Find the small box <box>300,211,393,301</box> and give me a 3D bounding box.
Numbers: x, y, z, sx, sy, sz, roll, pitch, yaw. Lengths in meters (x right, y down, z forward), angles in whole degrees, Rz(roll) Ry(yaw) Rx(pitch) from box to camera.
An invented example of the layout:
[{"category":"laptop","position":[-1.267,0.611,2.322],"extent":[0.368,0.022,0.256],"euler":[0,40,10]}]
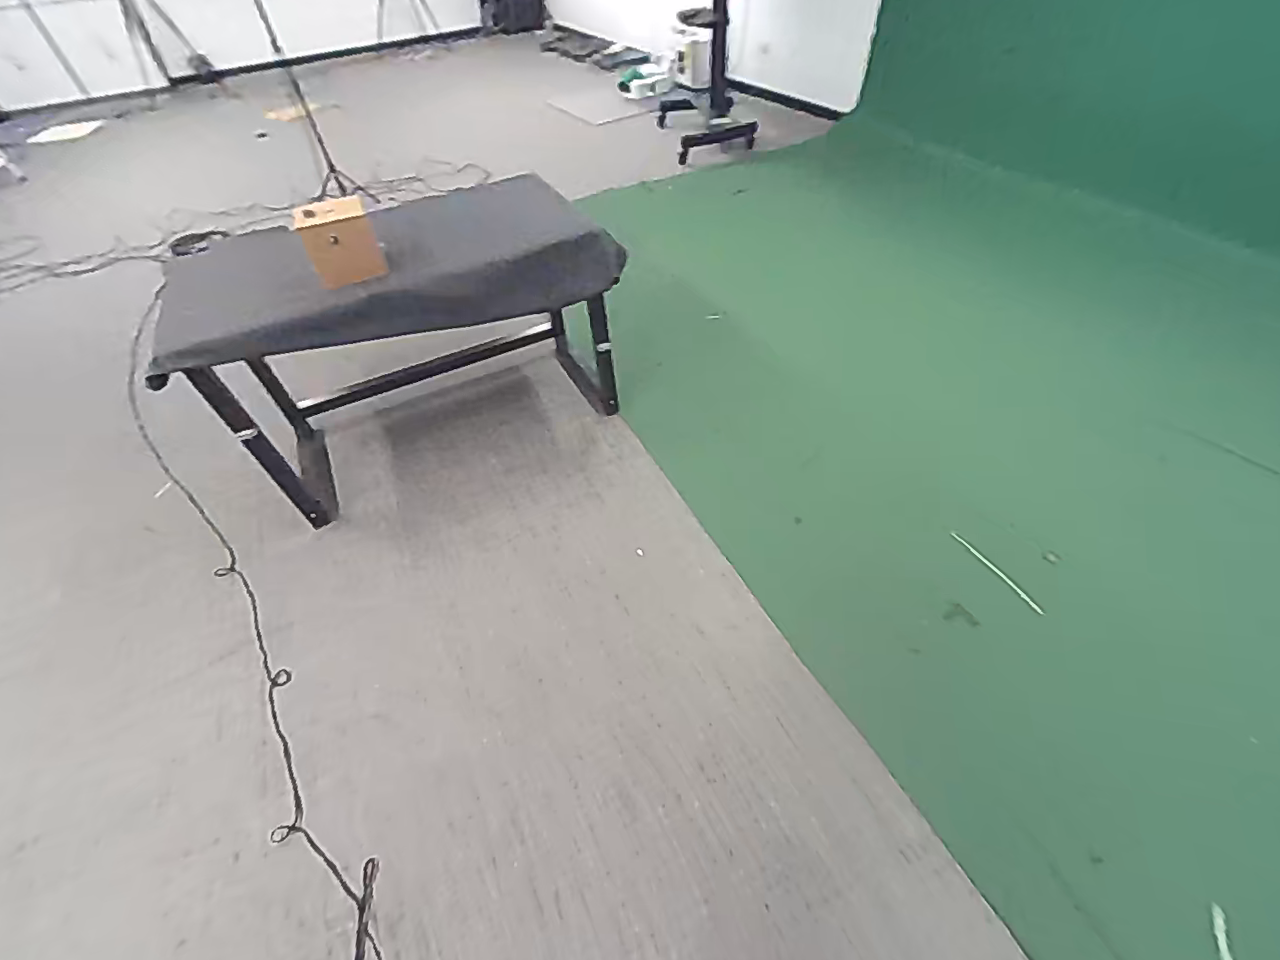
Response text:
[{"category":"small box","position":[-0.818,-0.624,1.512],"extent":[0.179,0.176,0.168],"euler":[-21,49,-15]}]
